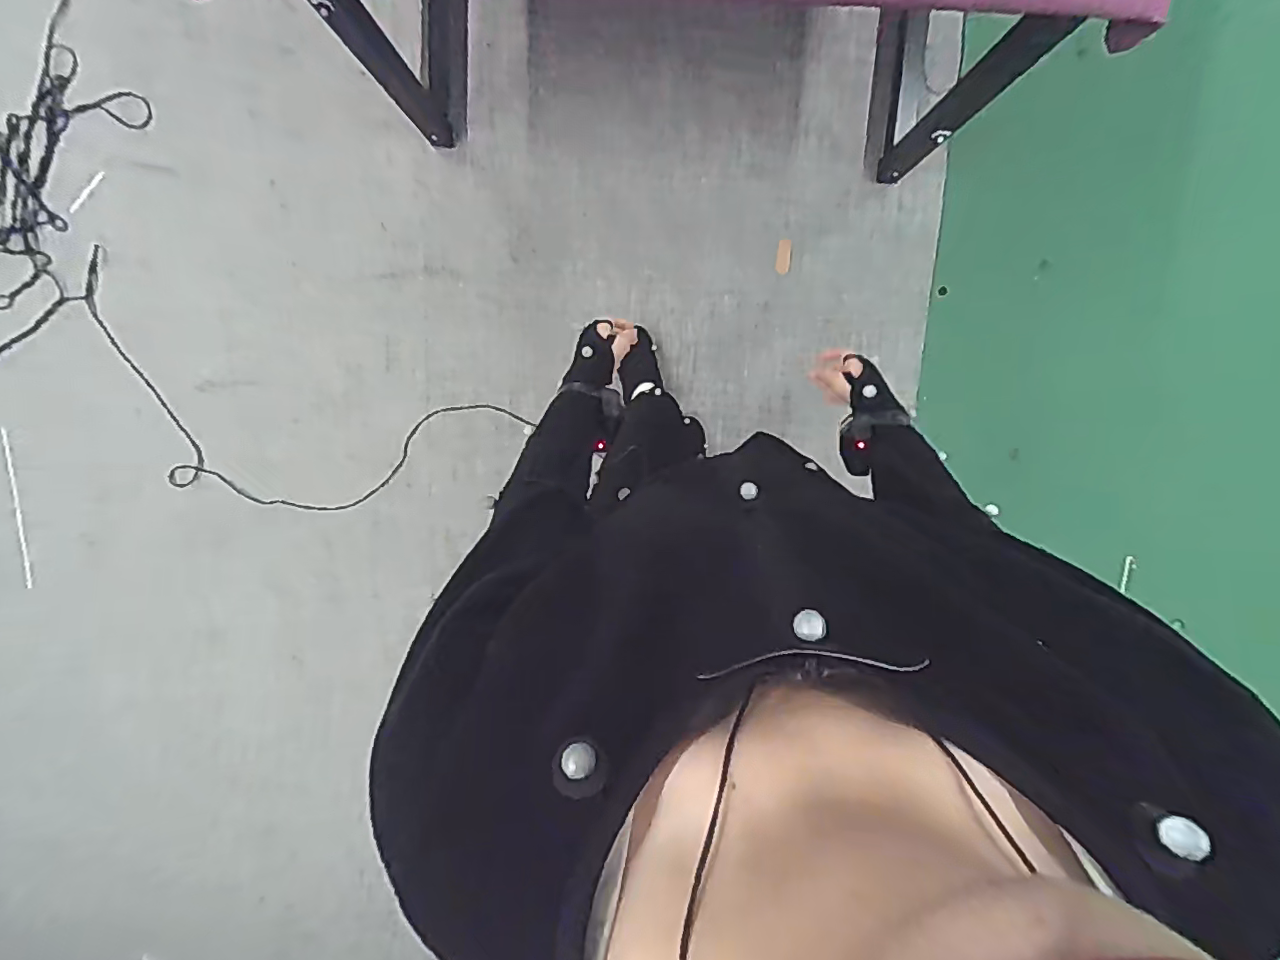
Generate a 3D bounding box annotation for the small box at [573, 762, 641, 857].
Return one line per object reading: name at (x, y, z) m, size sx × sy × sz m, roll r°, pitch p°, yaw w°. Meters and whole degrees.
small box at (-0.086, 0.919, 1.520) m, size 0.179 × 0.176 × 0.168 m, roll -2°, pitch 97°, yaw 3°
